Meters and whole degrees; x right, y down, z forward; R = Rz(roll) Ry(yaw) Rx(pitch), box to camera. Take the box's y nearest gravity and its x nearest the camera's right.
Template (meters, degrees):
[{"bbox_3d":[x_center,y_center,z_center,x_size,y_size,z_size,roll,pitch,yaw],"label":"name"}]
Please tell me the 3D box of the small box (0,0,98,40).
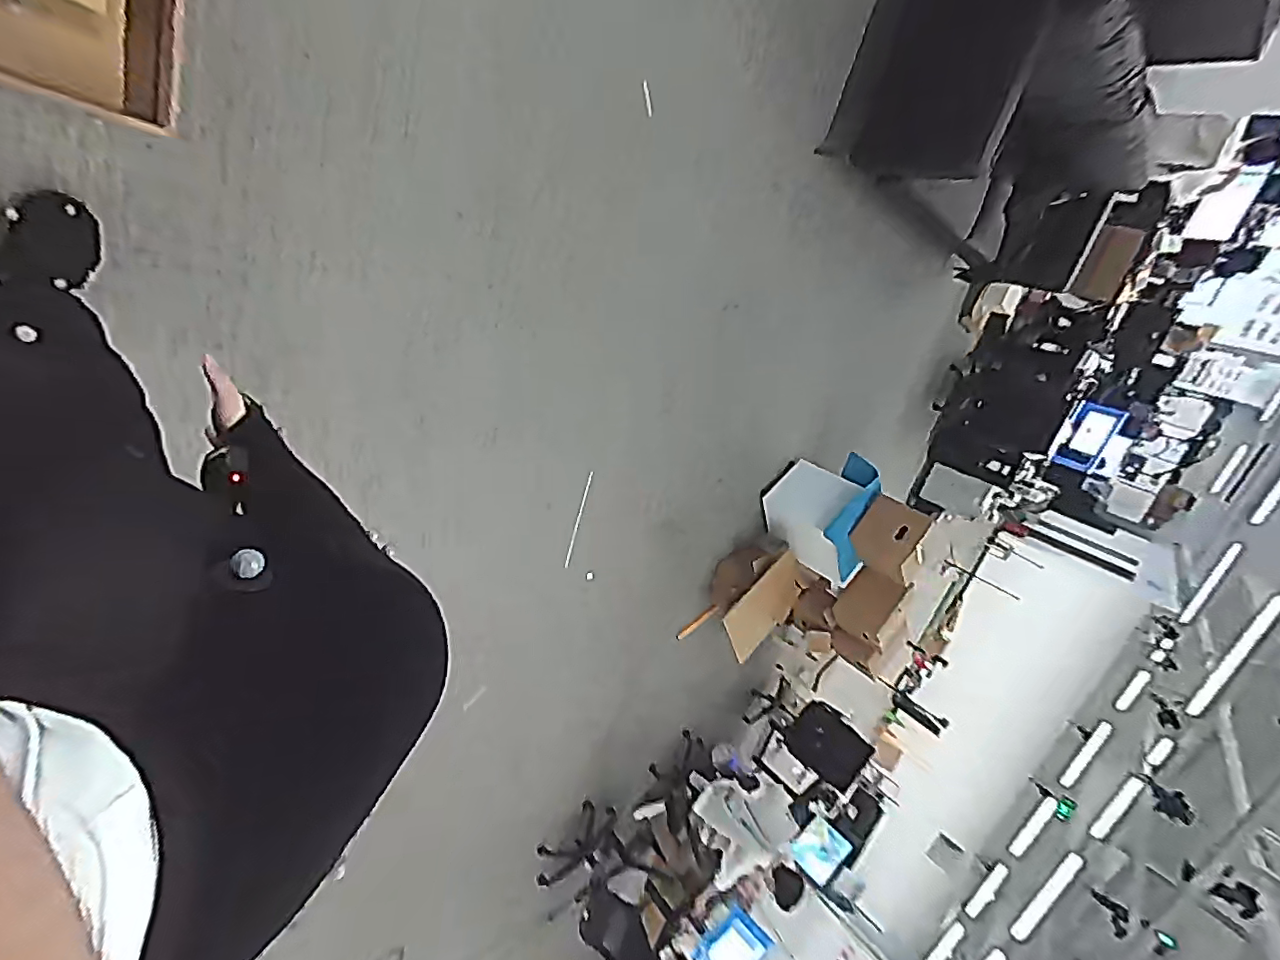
[{"bbox_3d":[-0.815,-0.715,0.696,0.168,0.176,0.179,0,114,-46],"label":"small box"}]
